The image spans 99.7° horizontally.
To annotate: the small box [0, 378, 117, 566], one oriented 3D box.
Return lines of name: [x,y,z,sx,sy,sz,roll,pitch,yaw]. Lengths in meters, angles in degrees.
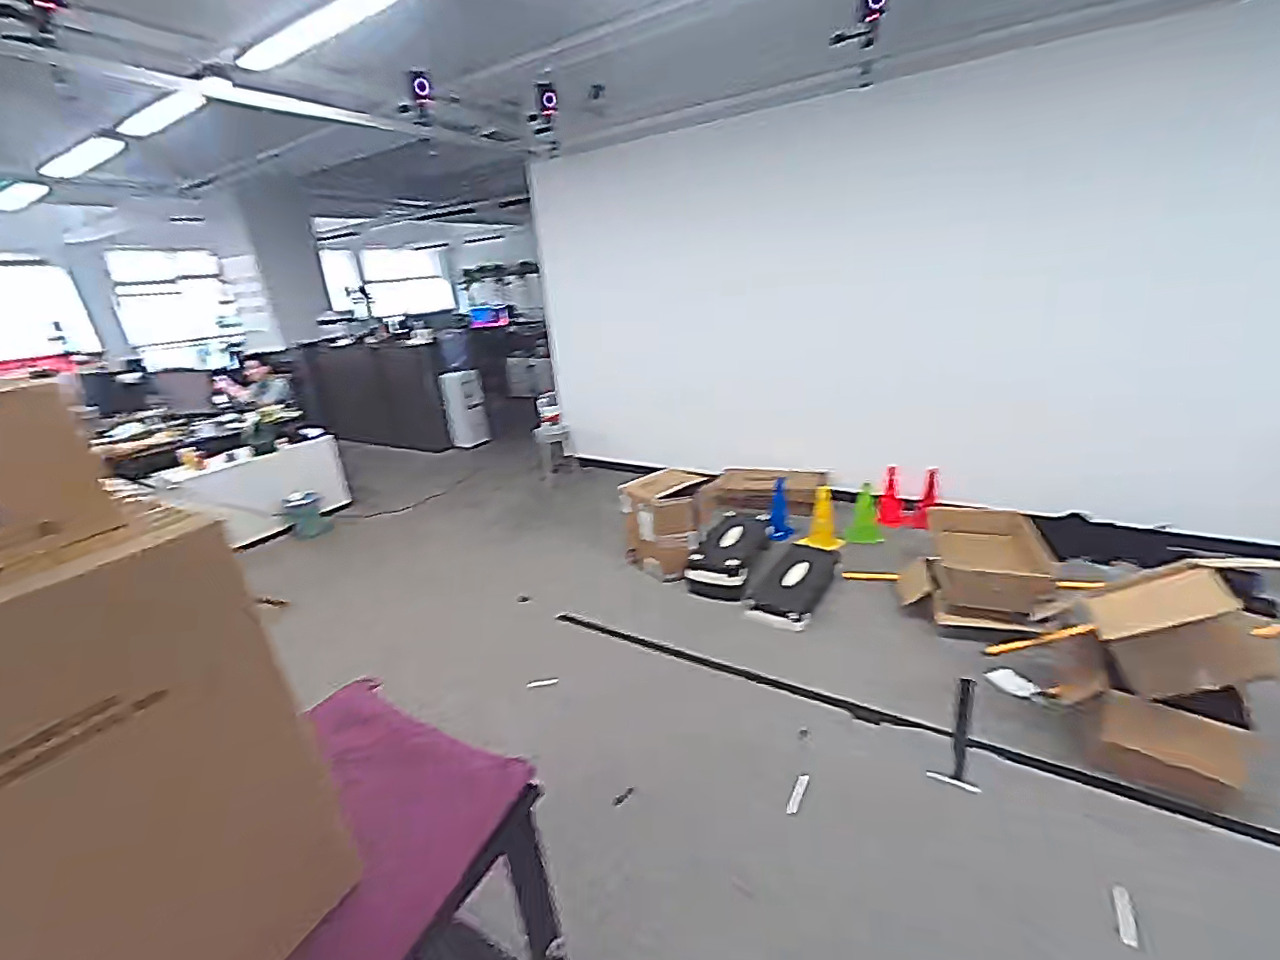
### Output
small box: [-0.702,-0.004,0.552,0.179,0.176,0.168,7,24,26]
